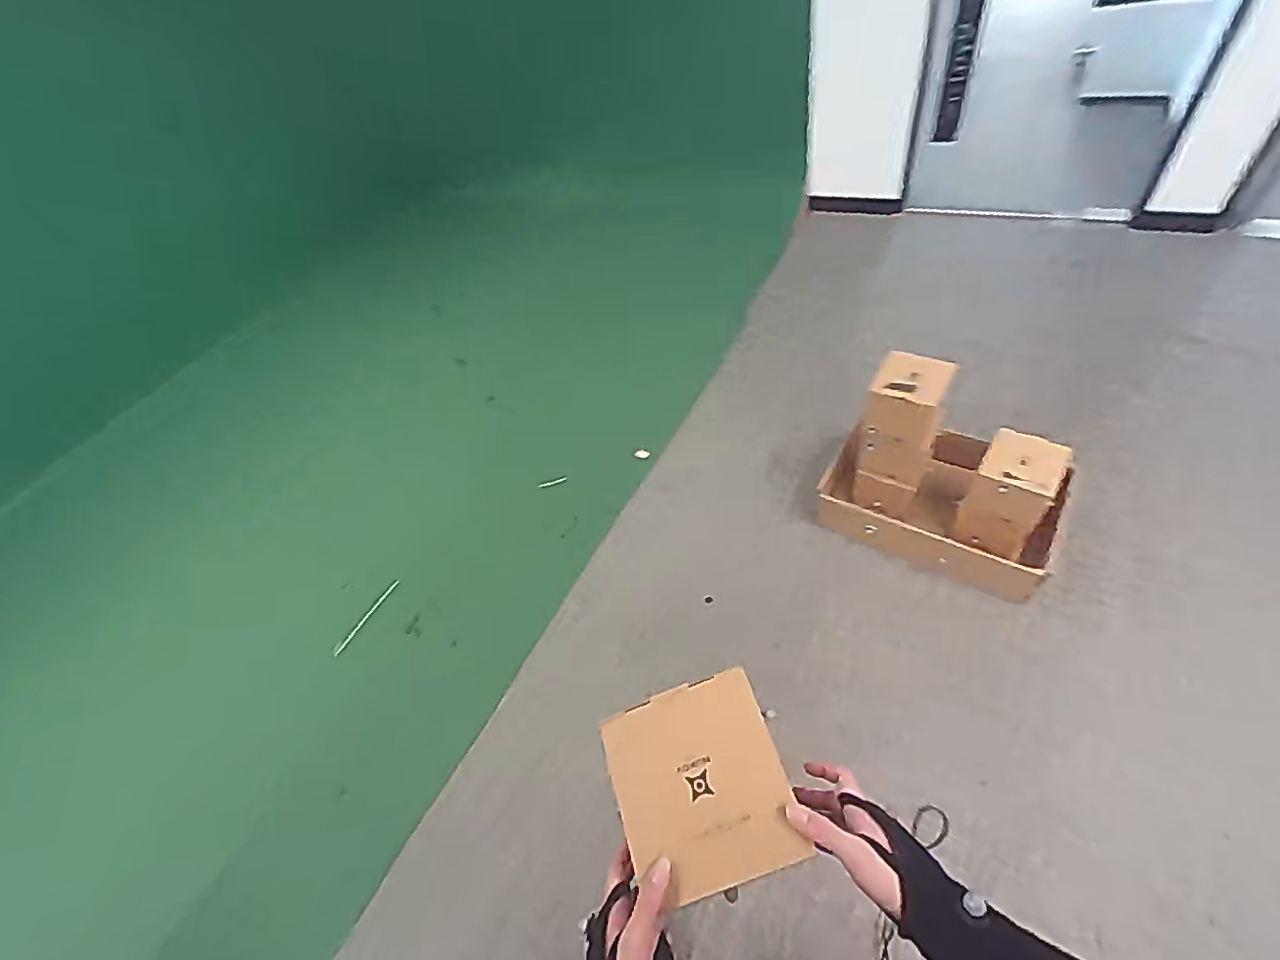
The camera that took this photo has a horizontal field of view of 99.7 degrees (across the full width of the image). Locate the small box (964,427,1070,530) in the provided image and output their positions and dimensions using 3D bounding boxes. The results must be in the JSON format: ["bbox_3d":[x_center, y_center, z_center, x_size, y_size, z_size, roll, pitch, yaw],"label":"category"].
[{"bbox_3d":[0.982,-0.003,1.420,0.168,0.176,0.179,25,62,30],"label":"small box"}]

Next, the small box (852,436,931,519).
[{"bbox_3d":[0.781,-0.012,1.694,0.168,0.176,0.179,23,61,29],"label":"small box"}]

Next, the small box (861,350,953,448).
[{"bbox_3d":[0.707,-0.214,1.447,0.168,0.176,0.179,23,60,28],"label":"small box"}]

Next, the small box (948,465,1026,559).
[{"bbox_3d":[1.012,0.092,1.551,0.168,0.176,0.179,23,62,29],"label":"small box"}]

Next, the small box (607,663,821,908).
[{"bbox_3d":[0.079,0.327,0.588,0.168,0.176,0.179,-21,56,3],"label":"small box"}]
